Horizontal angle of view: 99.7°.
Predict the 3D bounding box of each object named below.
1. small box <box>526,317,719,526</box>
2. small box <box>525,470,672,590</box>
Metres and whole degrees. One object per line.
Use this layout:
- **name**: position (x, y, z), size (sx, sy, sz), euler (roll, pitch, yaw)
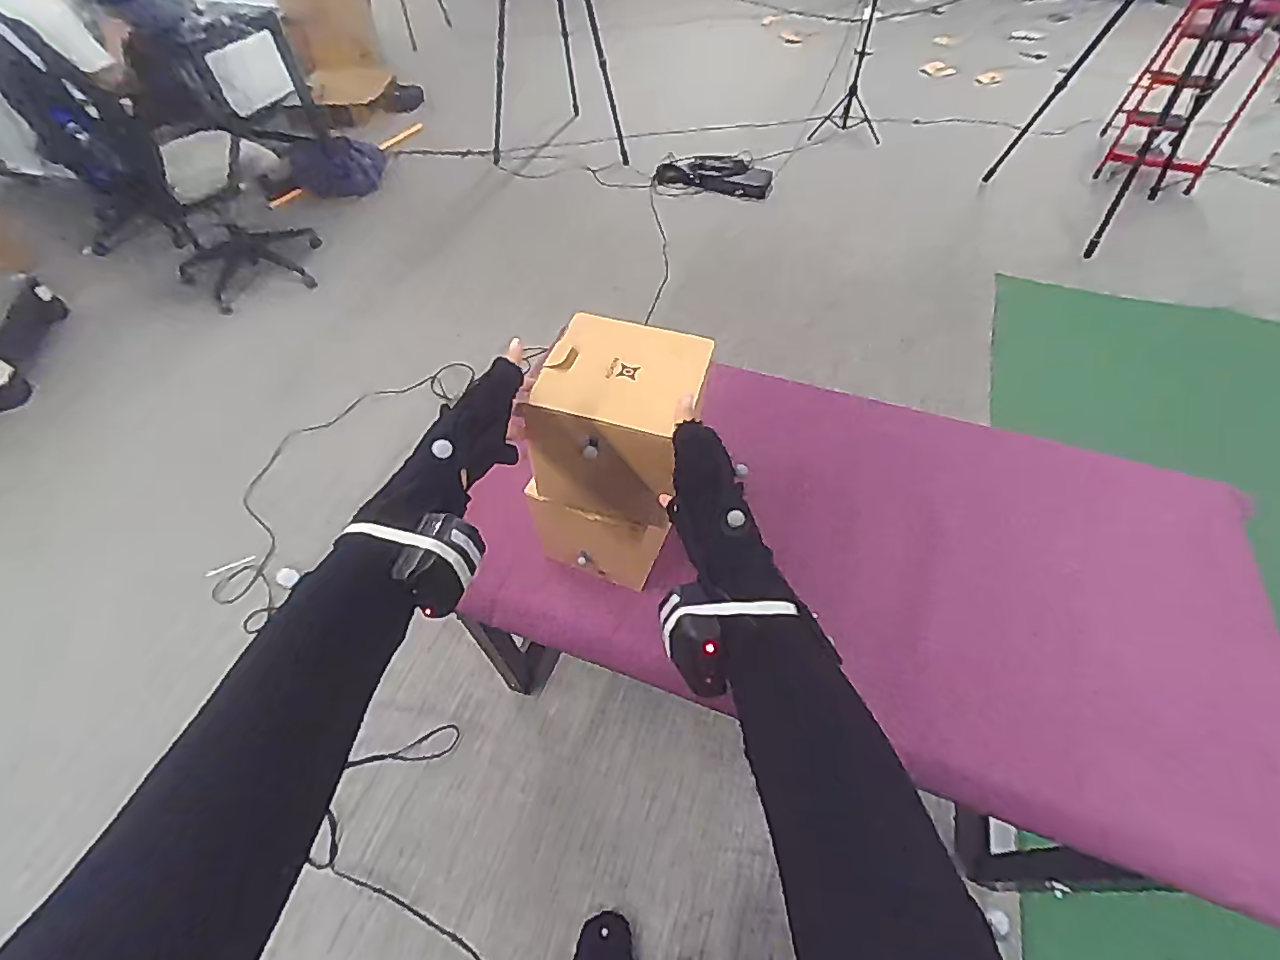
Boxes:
- **small box**: position (-0.017, -0.065, 0.659), size (0.179, 0.176, 0.168), euler (15, 53, 8)
- **small box**: position (-0.047, 0.031, 0.802), size (0.168, 0.176, 0.179), euler (20, 56, 14)
